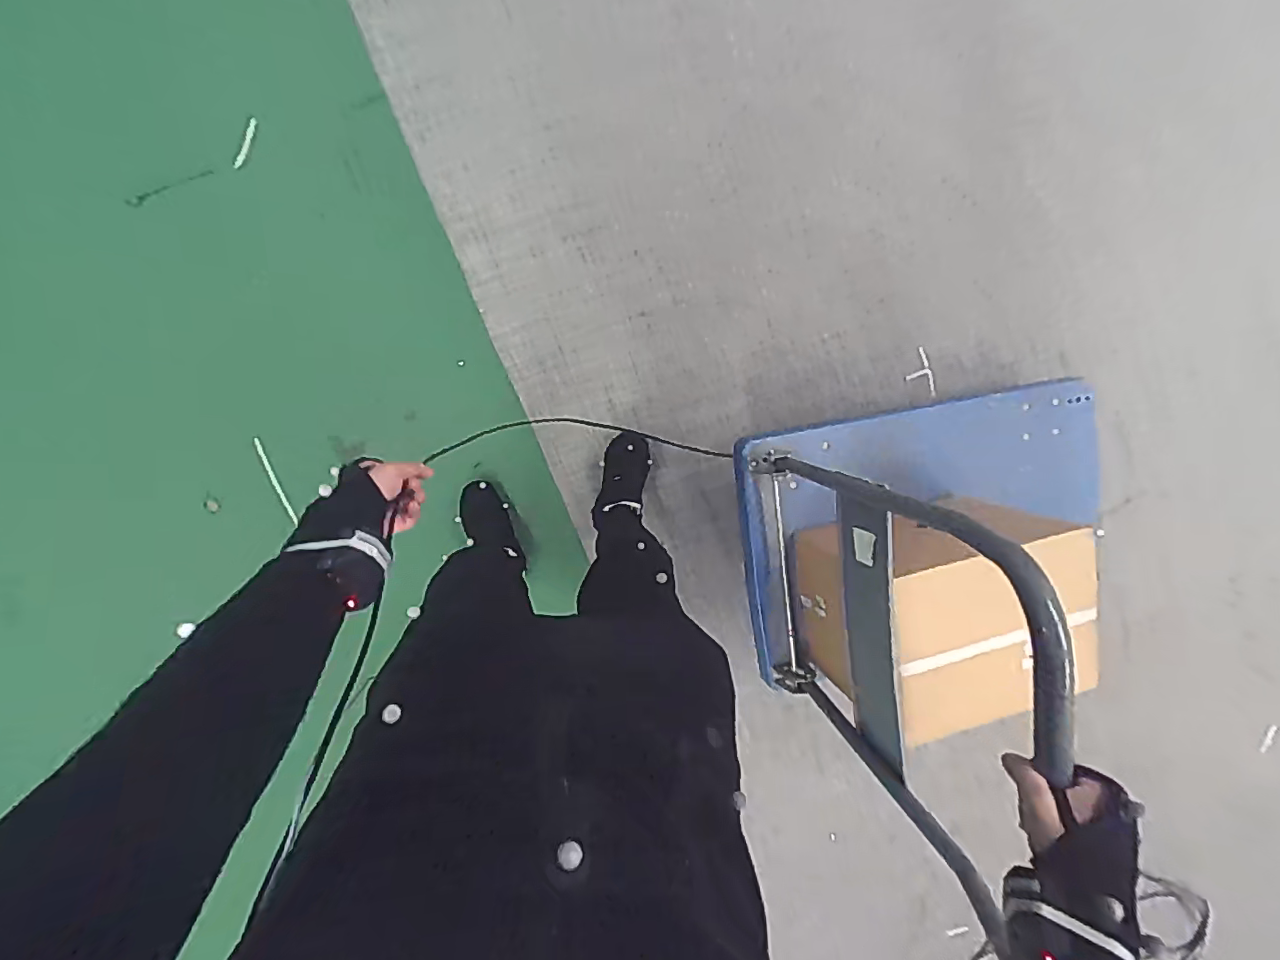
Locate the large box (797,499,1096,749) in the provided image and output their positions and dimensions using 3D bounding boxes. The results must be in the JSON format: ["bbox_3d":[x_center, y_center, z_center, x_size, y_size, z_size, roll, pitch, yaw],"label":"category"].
[{"bbox_3d":[0.578,0.248,1.064,0.408,0.320,0.320,-12,101,-11],"label":"large box"}]
